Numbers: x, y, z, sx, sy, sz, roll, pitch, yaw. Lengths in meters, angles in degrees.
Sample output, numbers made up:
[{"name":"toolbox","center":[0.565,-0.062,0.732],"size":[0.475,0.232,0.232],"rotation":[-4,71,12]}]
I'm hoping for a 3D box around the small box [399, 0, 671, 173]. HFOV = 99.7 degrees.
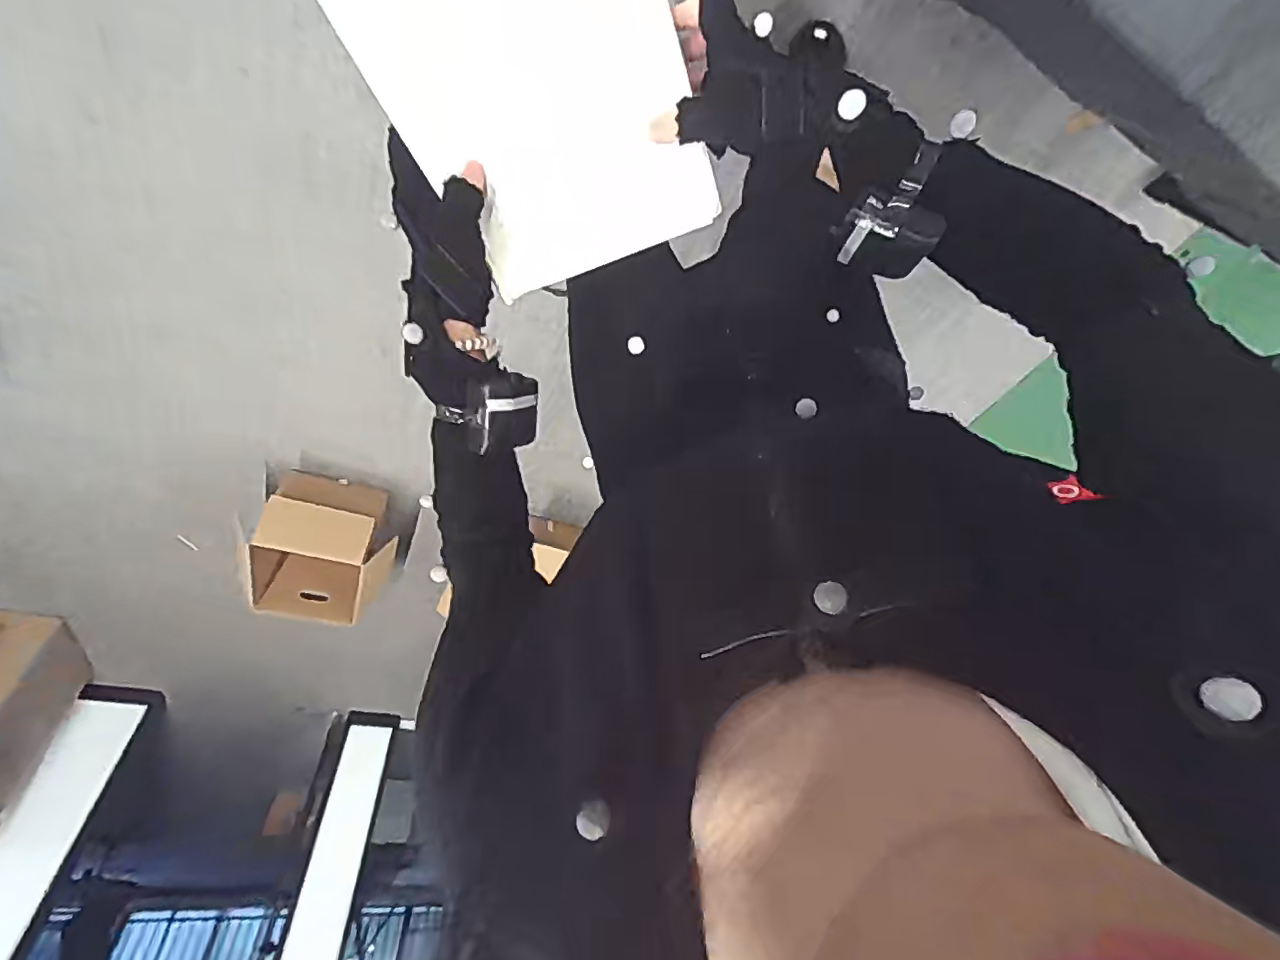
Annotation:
[{"name":"small box","center":[-0.071,-0.360,0.409],"size":[0.168,0.176,0.179],"rotation":[-10,126,9]}]
